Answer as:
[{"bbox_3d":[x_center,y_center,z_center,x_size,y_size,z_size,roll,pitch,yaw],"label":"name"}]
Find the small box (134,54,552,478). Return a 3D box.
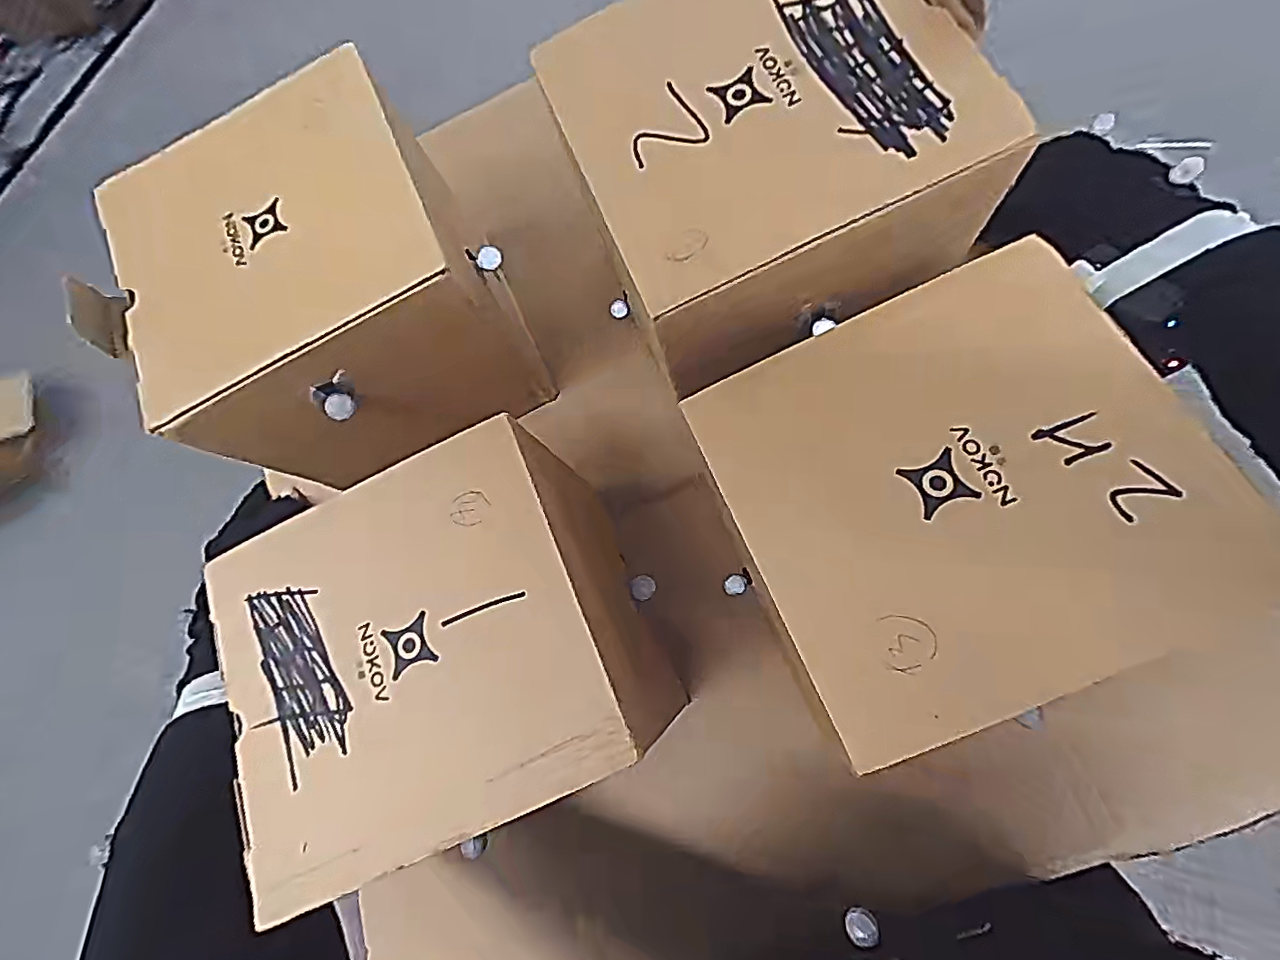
[{"bbox_3d":[-0.178,-0.120,0.371,0.179,0.176,0.168,-26,74,5],"label":"small box"}]
